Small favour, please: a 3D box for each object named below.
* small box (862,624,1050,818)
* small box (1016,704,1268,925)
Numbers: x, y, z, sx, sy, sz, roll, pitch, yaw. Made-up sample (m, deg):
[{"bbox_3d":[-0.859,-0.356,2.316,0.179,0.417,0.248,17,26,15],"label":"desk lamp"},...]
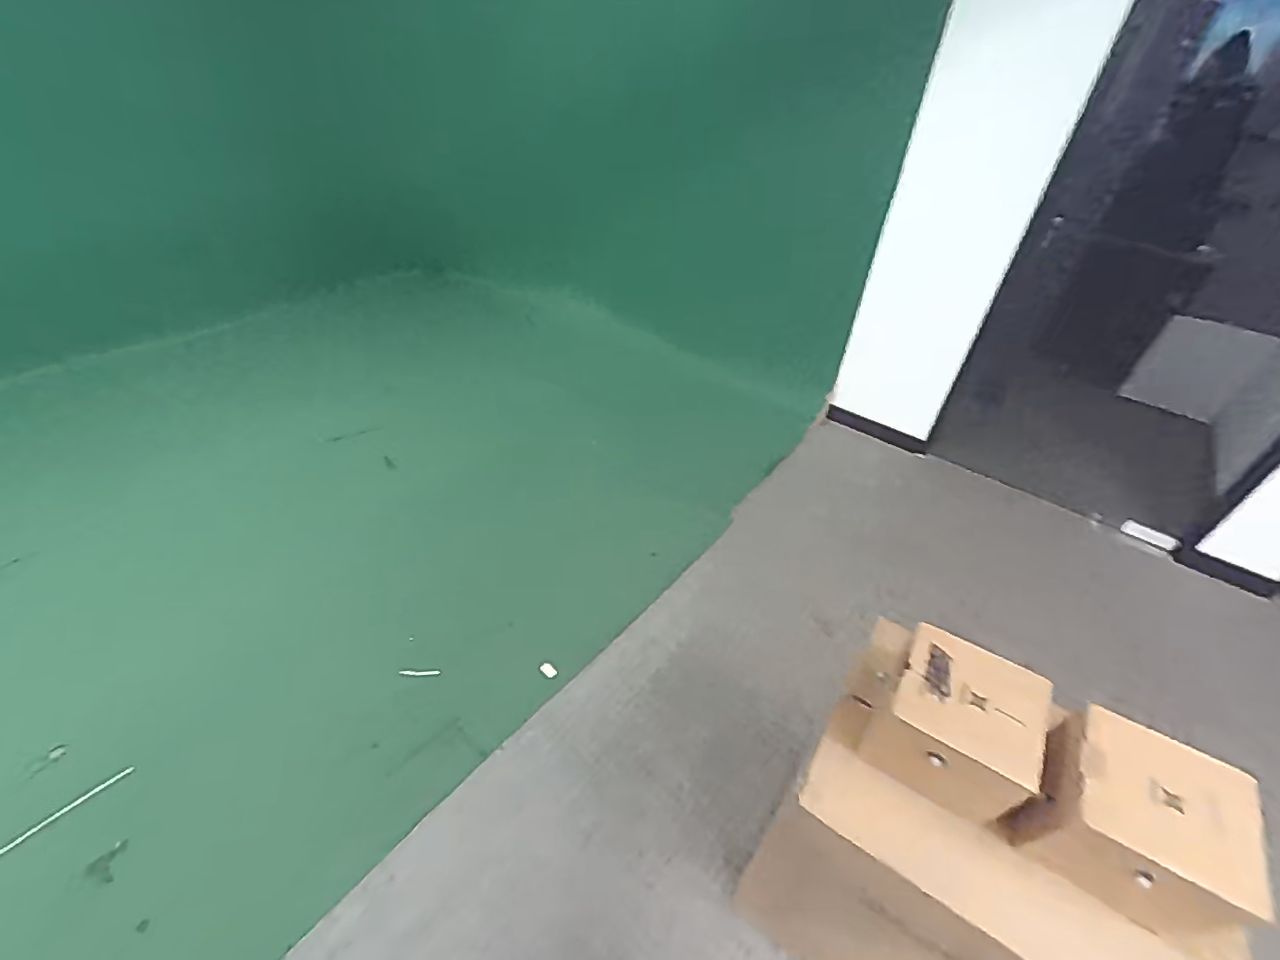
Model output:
[{"bbox_3d":[0.448,0.351,0.785,0.179,0.176,0.168,25,51,23],"label":"small box"},{"bbox_3d":[0.626,0.435,0.700,0.179,0.176,0.168,24,52,21],"label":"small box"}]
